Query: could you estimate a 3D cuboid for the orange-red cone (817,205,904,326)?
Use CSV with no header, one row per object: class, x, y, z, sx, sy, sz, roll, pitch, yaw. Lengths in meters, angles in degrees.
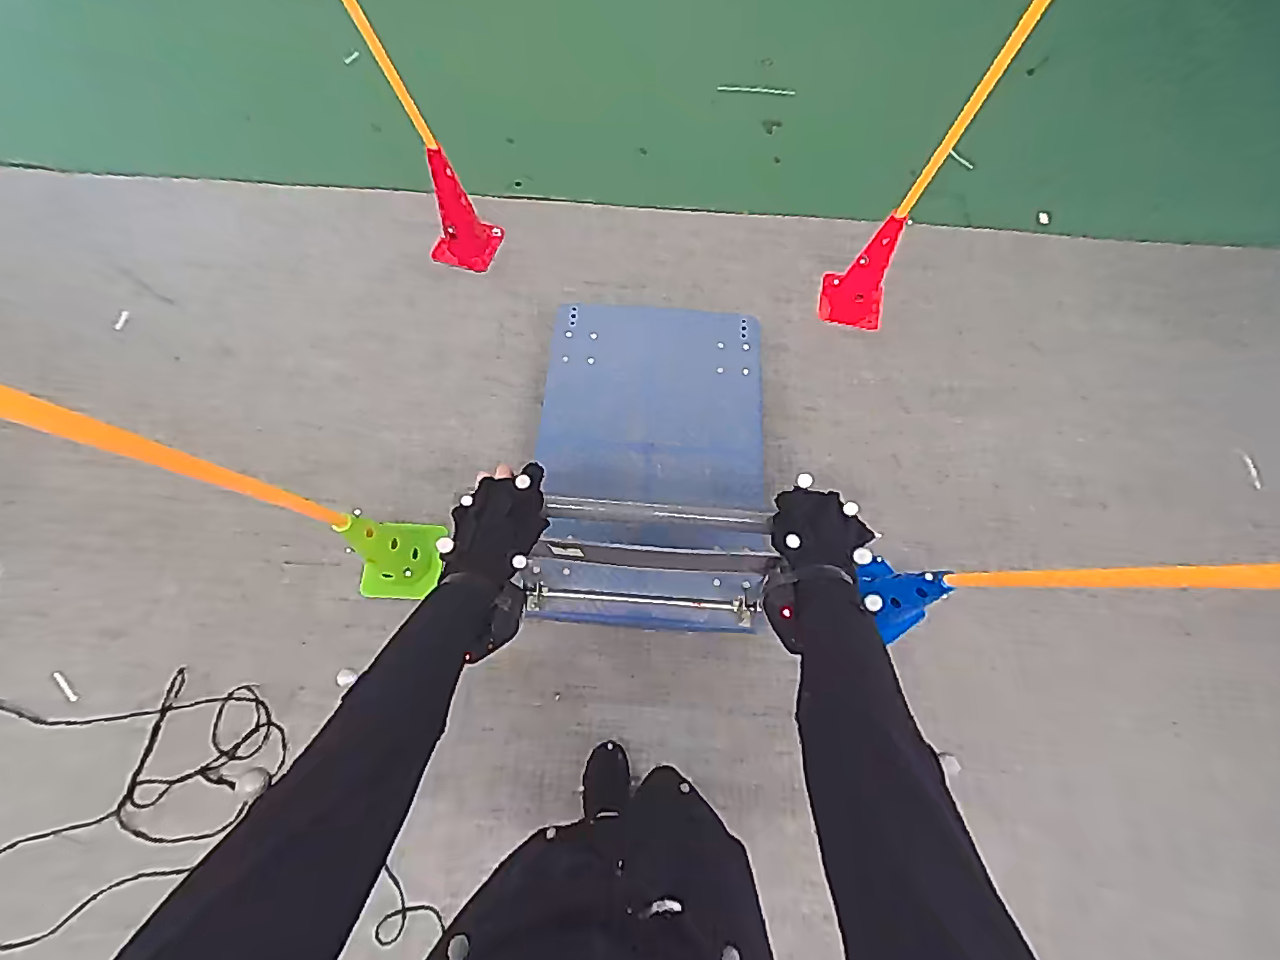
orange-red cone,0.688,-0.657,1.604,0.198,0.360,0.199,14,71,5
